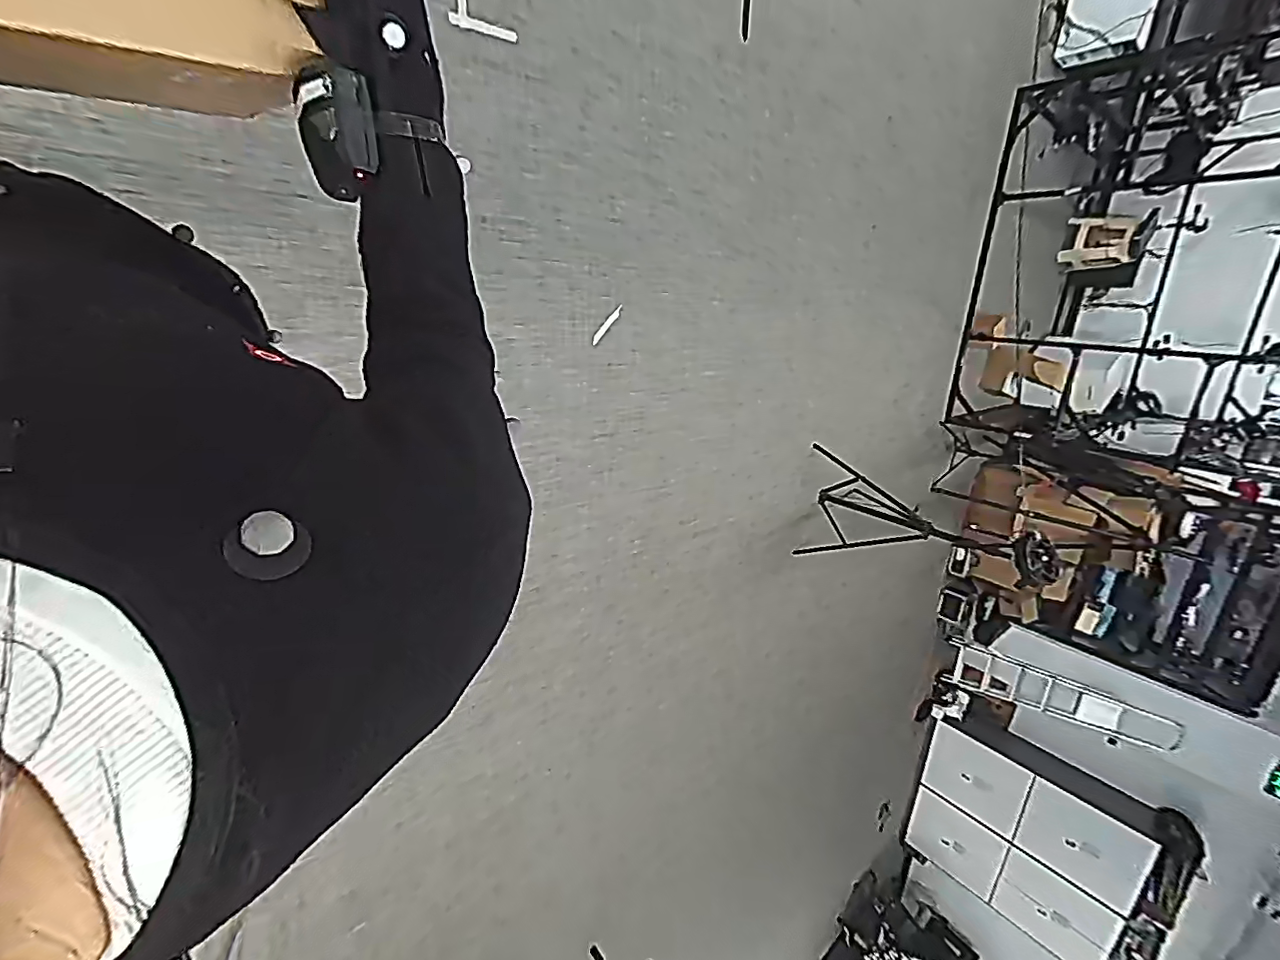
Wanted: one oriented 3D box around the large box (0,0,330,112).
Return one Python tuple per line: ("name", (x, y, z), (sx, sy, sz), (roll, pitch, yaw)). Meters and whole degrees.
("large box", (-0.450, -0.411, 0.277), (0.408, 0.320, 0.320), (-19, 125, -38))
